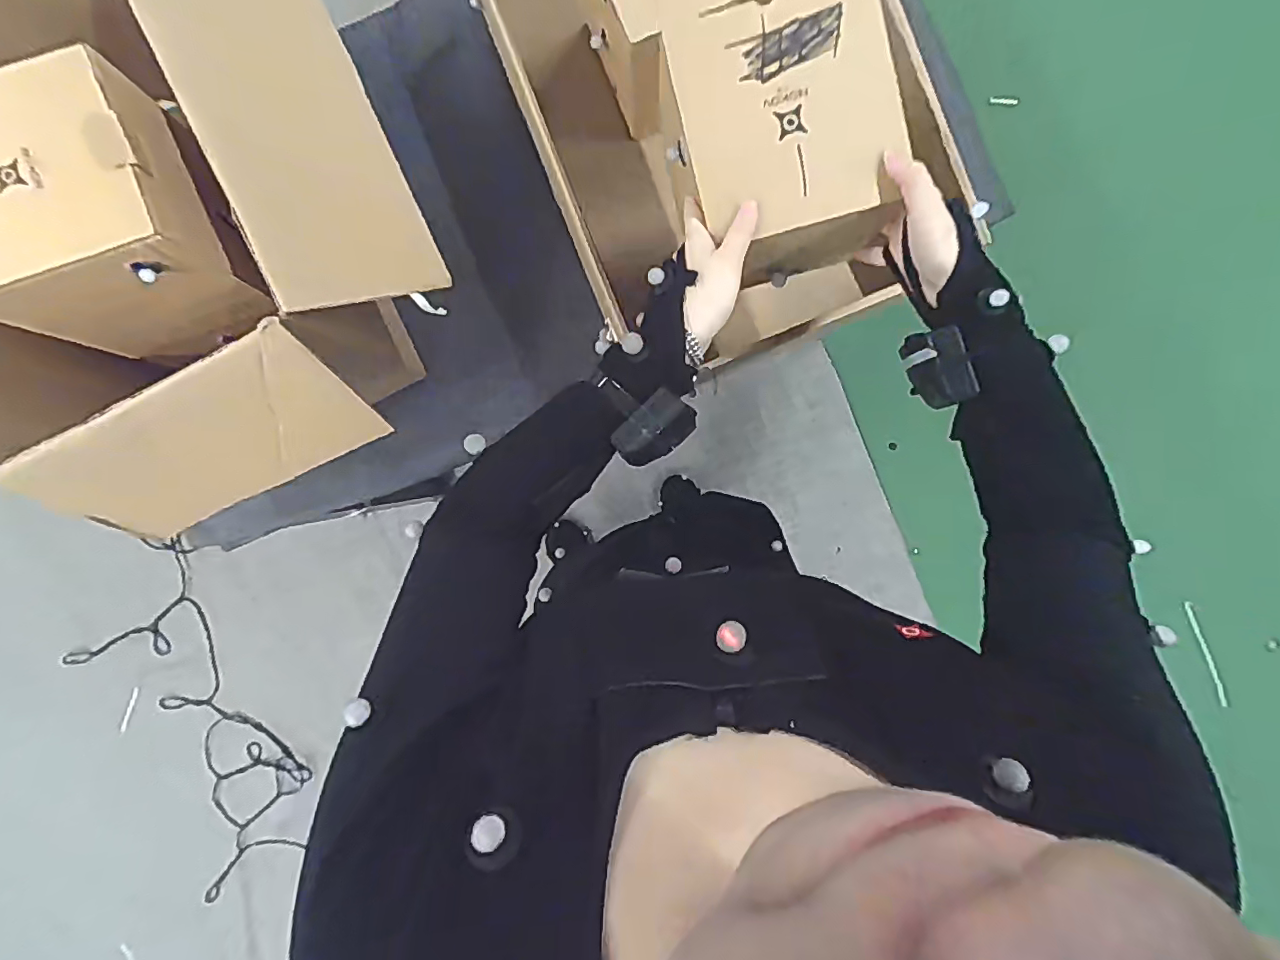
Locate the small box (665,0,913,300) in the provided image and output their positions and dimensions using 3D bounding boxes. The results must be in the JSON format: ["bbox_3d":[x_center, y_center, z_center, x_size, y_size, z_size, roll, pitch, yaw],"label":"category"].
[{"bbox_3d":[0.120,-0.290,0.504,0.168,0.176,0.179,-14,95,4],"label":"small box"}]
